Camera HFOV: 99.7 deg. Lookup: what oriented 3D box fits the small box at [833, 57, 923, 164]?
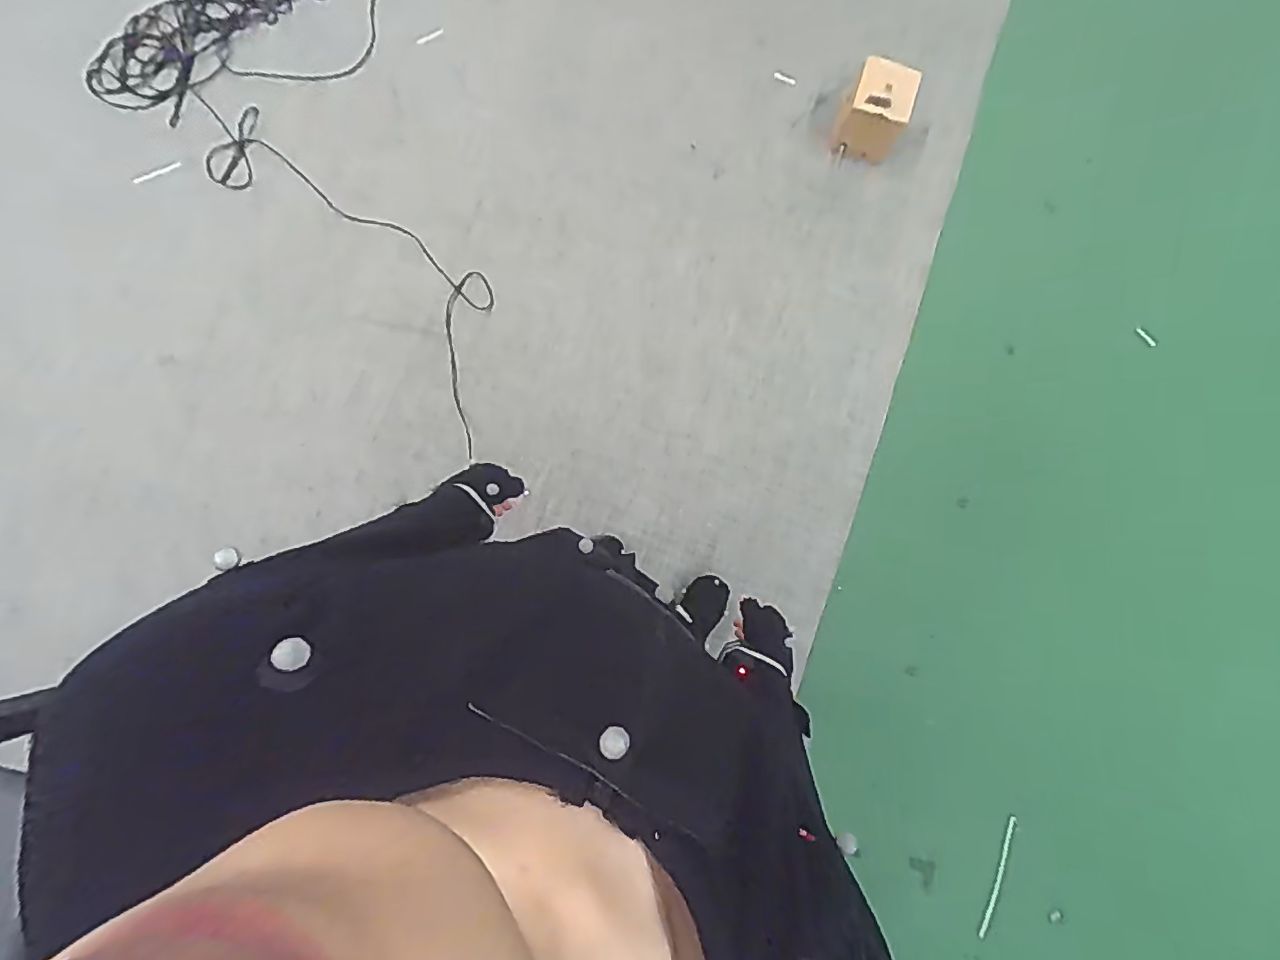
[{"bbox_3d":[0.691,-1.077,1.591,0.168,0.176,0.179,19,82,-1],"label":"small box"}]
